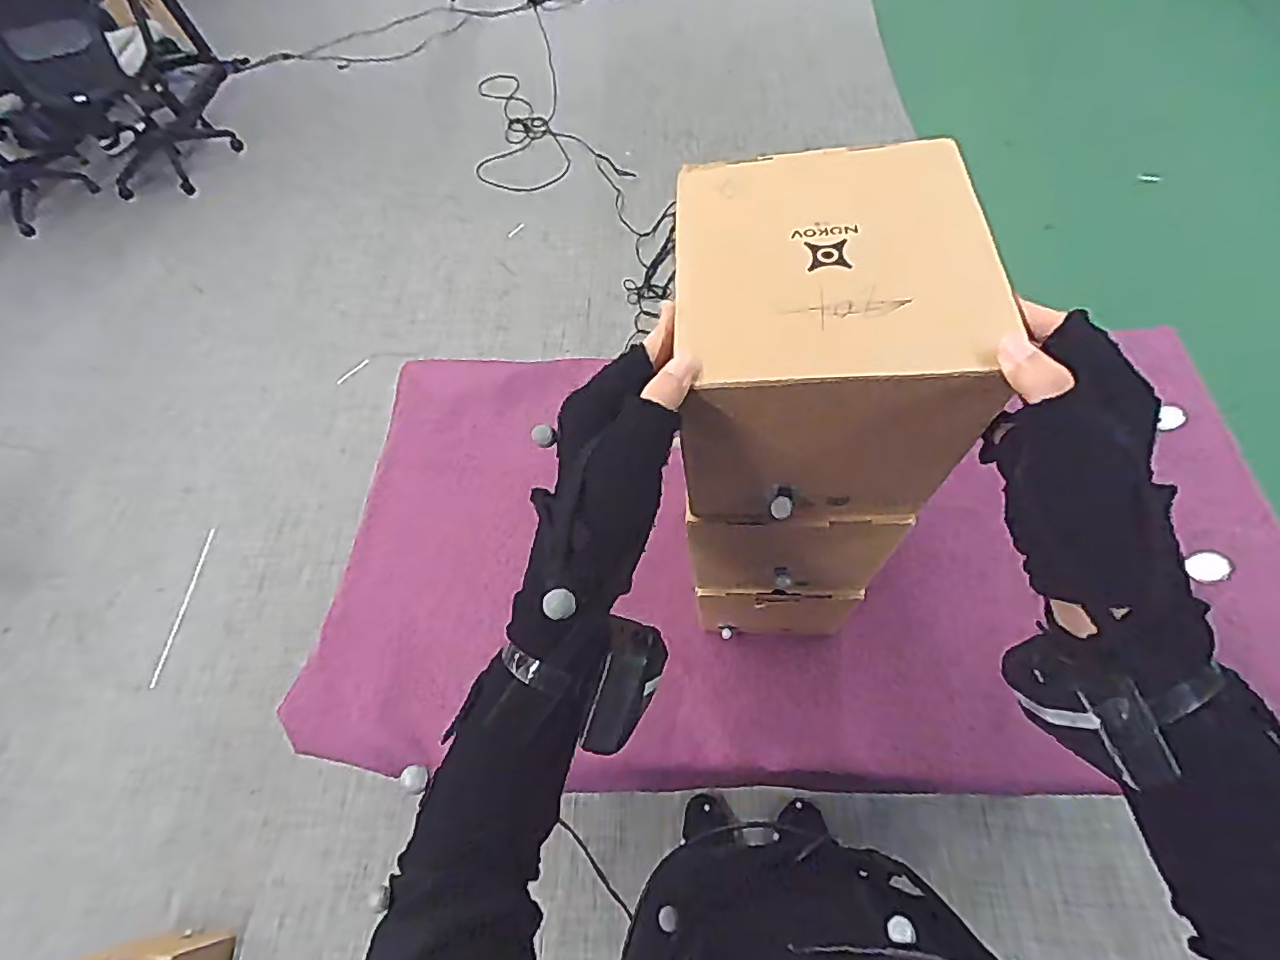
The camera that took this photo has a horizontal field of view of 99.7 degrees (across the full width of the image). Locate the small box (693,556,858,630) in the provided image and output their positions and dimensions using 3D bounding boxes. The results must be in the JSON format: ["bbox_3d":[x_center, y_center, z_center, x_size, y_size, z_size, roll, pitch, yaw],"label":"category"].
[{"bbox_3d":[0.153,0.077,0.652,0.168,0.176,0.179,0,61,8],"label":"small box"}]

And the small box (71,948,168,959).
[{"bbox_3d":[-1.027,0.994,0.985,0.168,0.176,0.179,-3,61,7],"label":"small box"}]

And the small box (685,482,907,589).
[{"bbox_3d":[0.131,-0.007,0.513,0.168,0.176,0.179,-1,62,9],"label":"small box"}]

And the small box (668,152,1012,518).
[{"bbox_3d":[0.110,-0.086,0.373,0.168,0.176,0.179,-1,63,9],"label":"small box"}]
